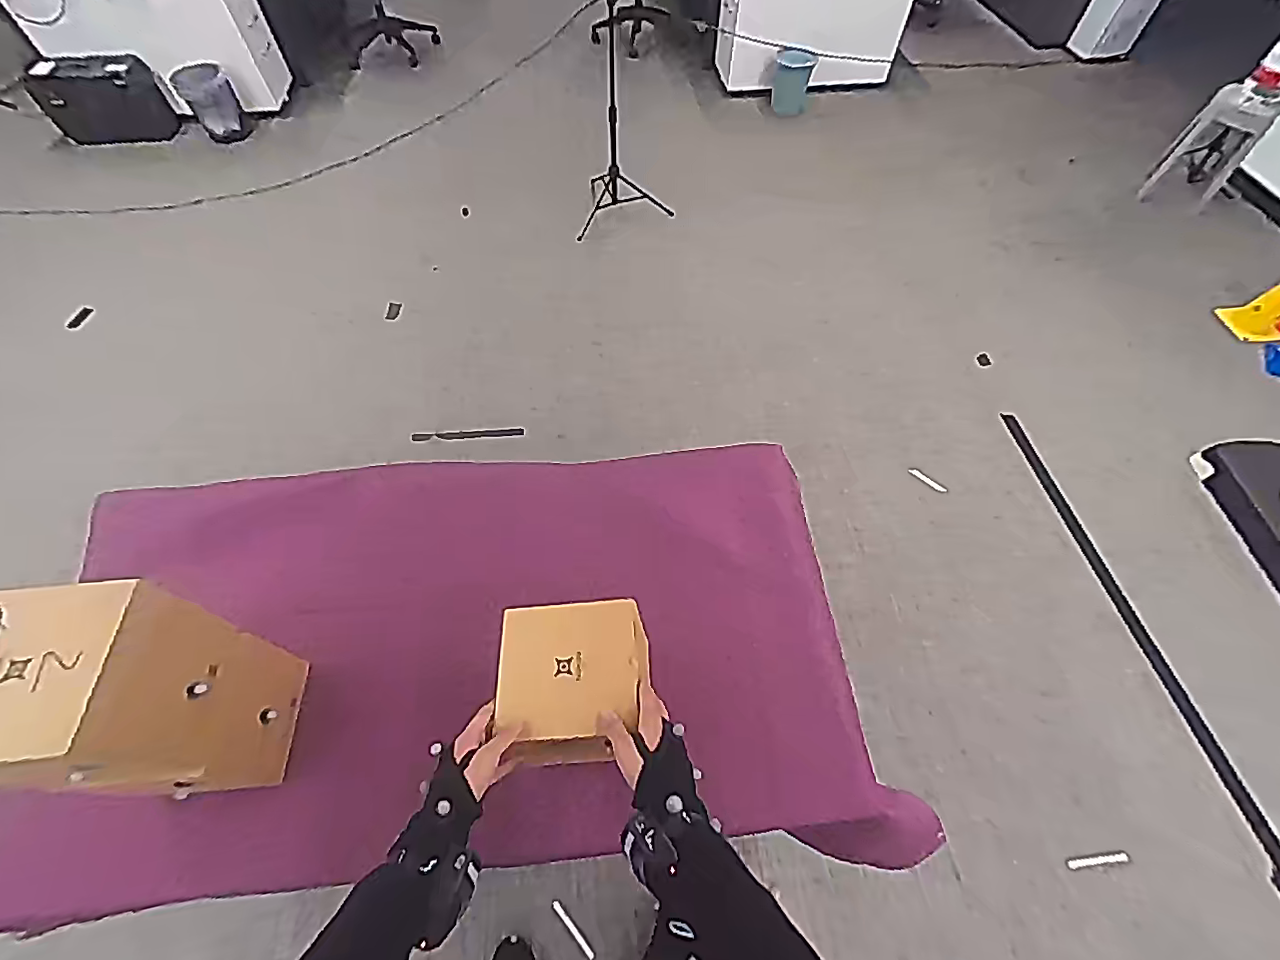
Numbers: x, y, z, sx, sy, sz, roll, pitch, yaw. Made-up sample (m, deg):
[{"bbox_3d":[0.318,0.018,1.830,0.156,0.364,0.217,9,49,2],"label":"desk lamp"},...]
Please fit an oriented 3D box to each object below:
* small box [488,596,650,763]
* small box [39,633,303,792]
[{"bbox_3d":[-0.084,0.273,0.725,0.179,0.176,0.168,-6,54,2],"label":"small box"},{"bbox_3d":[-0.583,0.308,0.708,0.179,0.176,0.168,-3,58,-3],"label":"small box"}]
